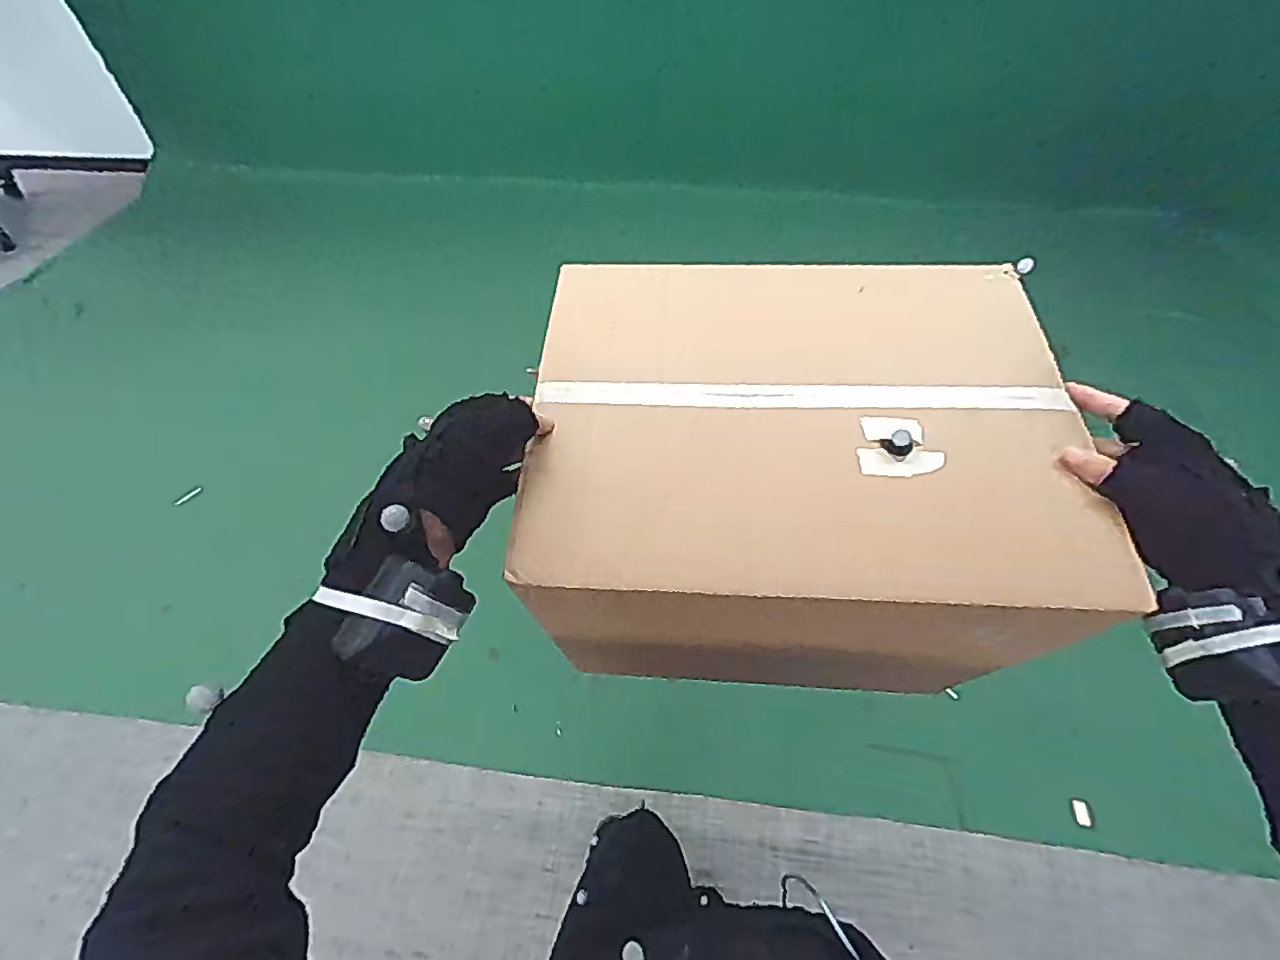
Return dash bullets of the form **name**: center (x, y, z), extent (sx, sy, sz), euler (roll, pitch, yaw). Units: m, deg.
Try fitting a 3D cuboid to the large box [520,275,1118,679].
- **large box**: center (0.124, 0.017, 0.561), extent (0.408, 0.320, 0.320), euler (1, 61, 4)
